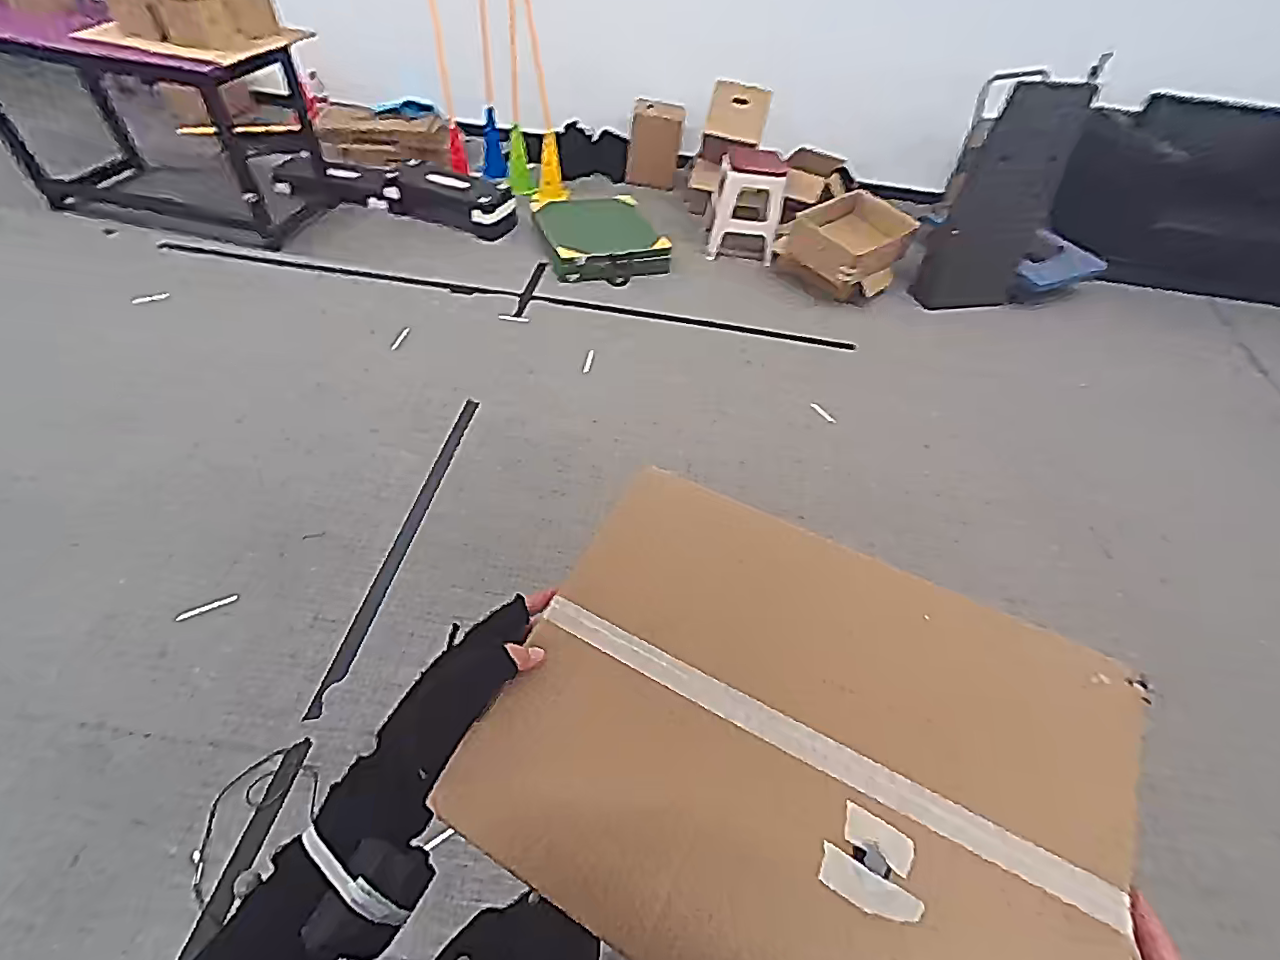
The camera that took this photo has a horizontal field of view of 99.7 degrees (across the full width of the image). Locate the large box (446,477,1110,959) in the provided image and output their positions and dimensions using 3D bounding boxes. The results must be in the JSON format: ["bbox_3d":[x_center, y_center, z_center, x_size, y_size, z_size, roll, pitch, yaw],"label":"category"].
[{"bbox_3d":[0.111,0.260,0.515,0.408,0.320,0.320,23,63,17],"label":"large box"}]
